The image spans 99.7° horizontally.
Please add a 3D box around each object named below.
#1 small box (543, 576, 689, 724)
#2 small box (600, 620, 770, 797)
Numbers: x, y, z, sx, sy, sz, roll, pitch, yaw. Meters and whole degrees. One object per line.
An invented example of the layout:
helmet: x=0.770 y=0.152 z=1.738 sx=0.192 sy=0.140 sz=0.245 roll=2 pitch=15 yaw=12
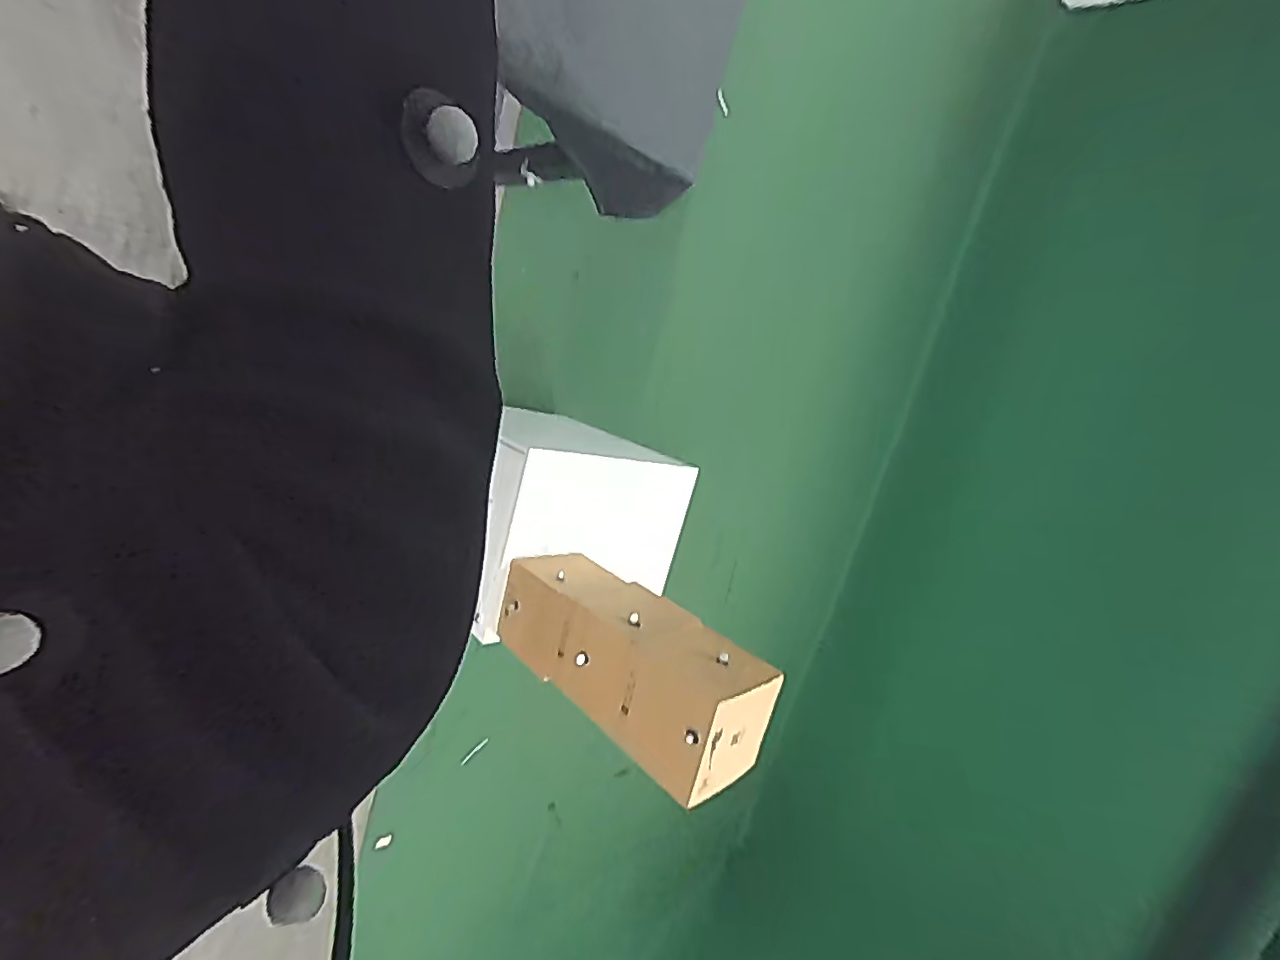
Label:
small box: x=-0.046 y=0.284 z=0.943 sx=0.179 sy=0.176 sz=0.168 roll=-1 pitch=109 yaw=-47
small box: x=0.068 y=0.336 z=0.838 sx=0.179 sy=0.176 sz=0.168 roll=2 pitch=106 yaw=-49
